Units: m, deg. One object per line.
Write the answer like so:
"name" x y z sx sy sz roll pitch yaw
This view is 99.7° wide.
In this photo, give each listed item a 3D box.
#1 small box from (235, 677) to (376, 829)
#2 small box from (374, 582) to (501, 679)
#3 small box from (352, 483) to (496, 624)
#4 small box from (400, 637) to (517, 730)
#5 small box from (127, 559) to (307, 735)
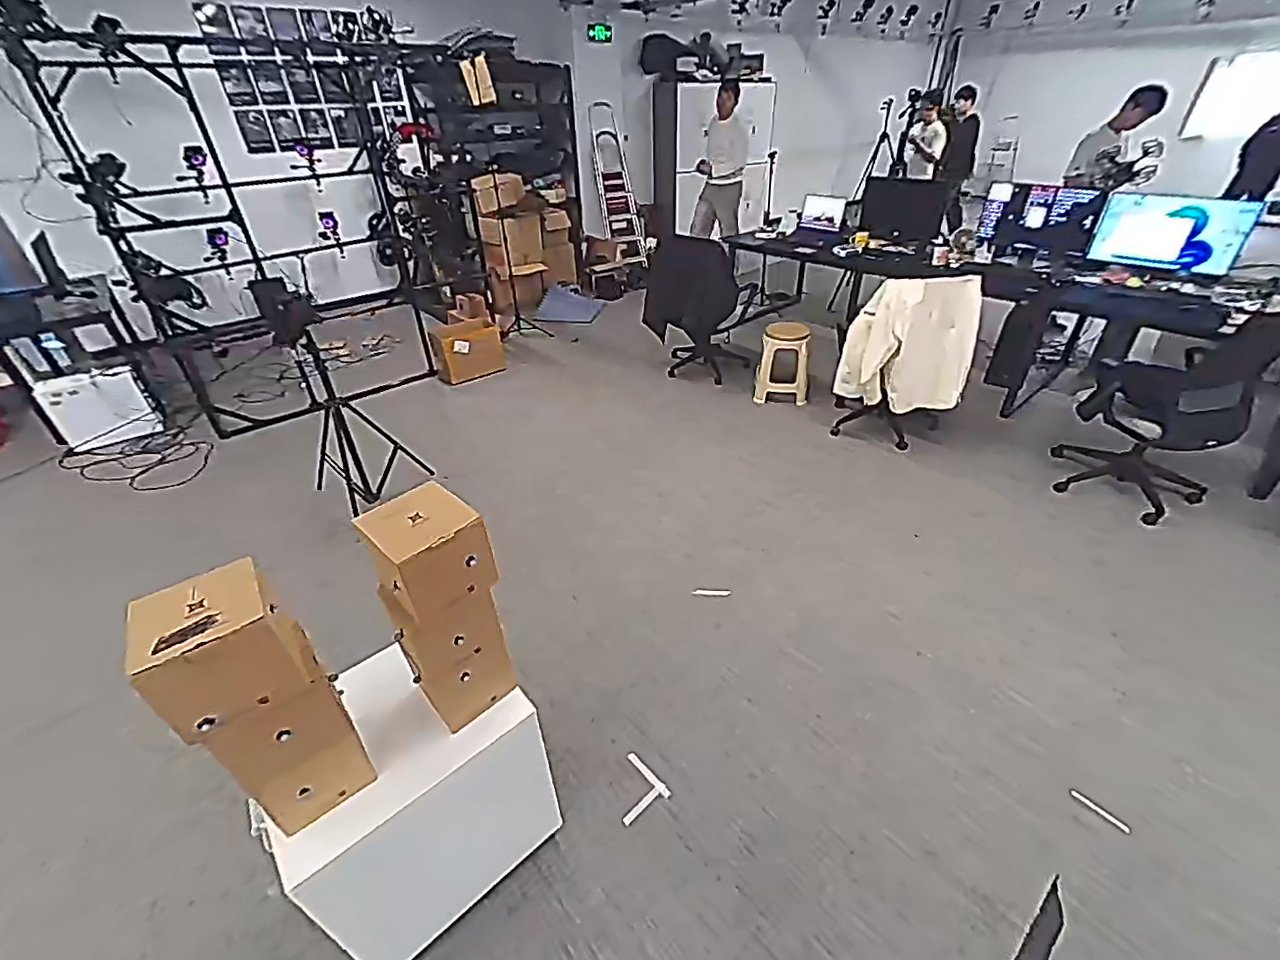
"small box" -0.636 0.528 1.040 0.168 0.176 0.179 -27 42 -32
"small box" -0.404 0.272 1.098 0.168 0.176 0.179 -30 43 -33
"small box" -0.392 0.139 1.005 0.179 0.176 0.168 26 44 35
"small box" -0.397 0.407 1.194 0.168 0.176 0.179 -31 44 -32
"small box" -0.650 0.264 0.844 0.168 0.176 0.179 -25 40 -29
